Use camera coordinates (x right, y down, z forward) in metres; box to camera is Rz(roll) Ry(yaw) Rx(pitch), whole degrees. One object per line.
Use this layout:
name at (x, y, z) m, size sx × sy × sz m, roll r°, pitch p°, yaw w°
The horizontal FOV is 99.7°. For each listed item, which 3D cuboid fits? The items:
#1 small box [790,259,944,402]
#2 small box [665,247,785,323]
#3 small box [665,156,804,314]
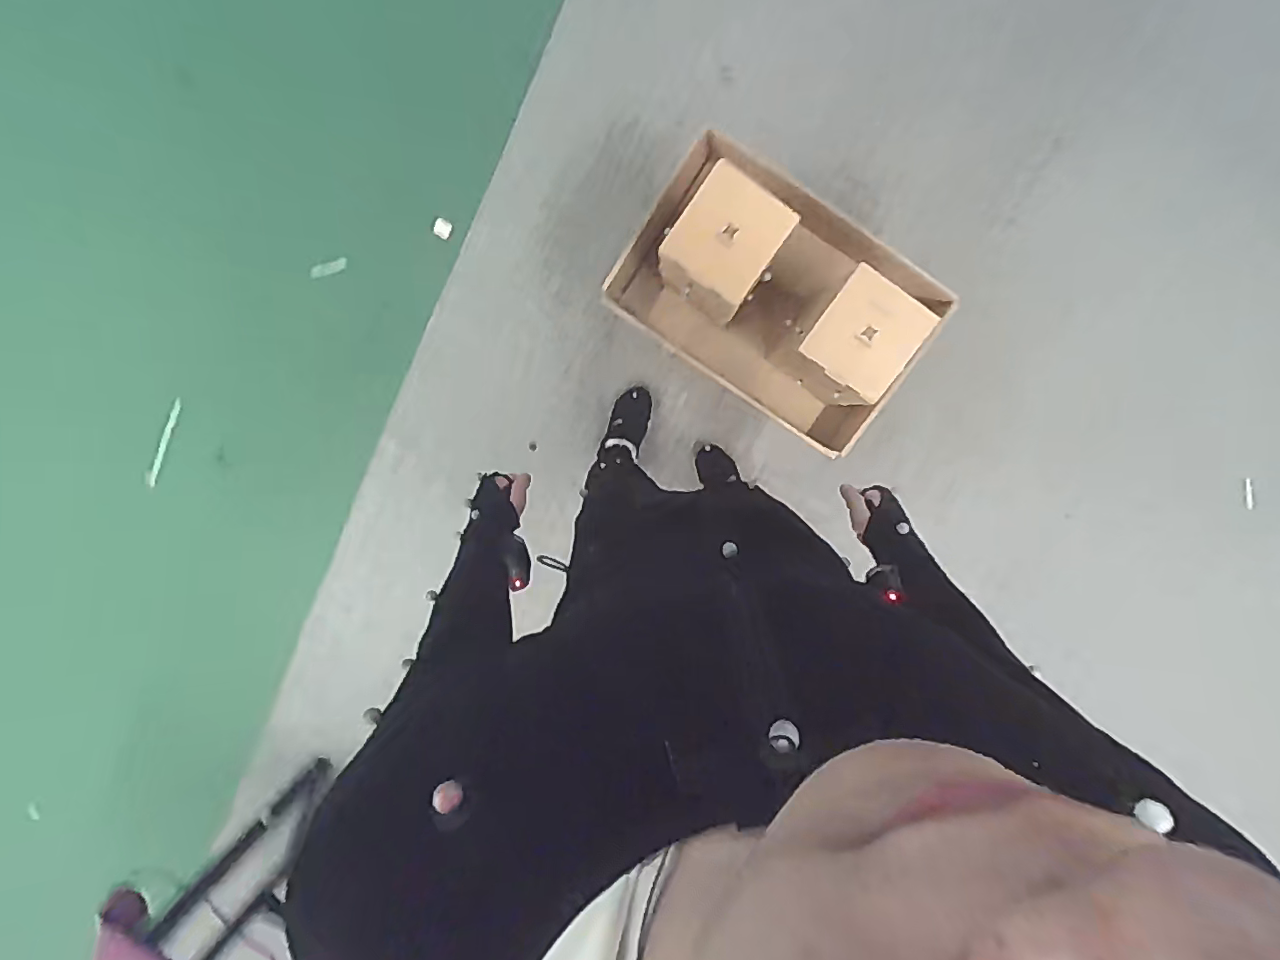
small box at (0.390, -0.256, 0.970) m, size 0.168 × 0.176 × 0.179 m, roll 36°, pitch 99°, yaw -2°
small box at (0.170, -0.449, 1.131) m, size 0.179 × 0.176 × 0.168 m, roll 38°, pitch 100°, yaw -2°
small box at (0.159, -0.424, 0.969) m, size 0.168 × 0.176 × 0.179 m, roll 36°, pitch 101°, yaw -1°
